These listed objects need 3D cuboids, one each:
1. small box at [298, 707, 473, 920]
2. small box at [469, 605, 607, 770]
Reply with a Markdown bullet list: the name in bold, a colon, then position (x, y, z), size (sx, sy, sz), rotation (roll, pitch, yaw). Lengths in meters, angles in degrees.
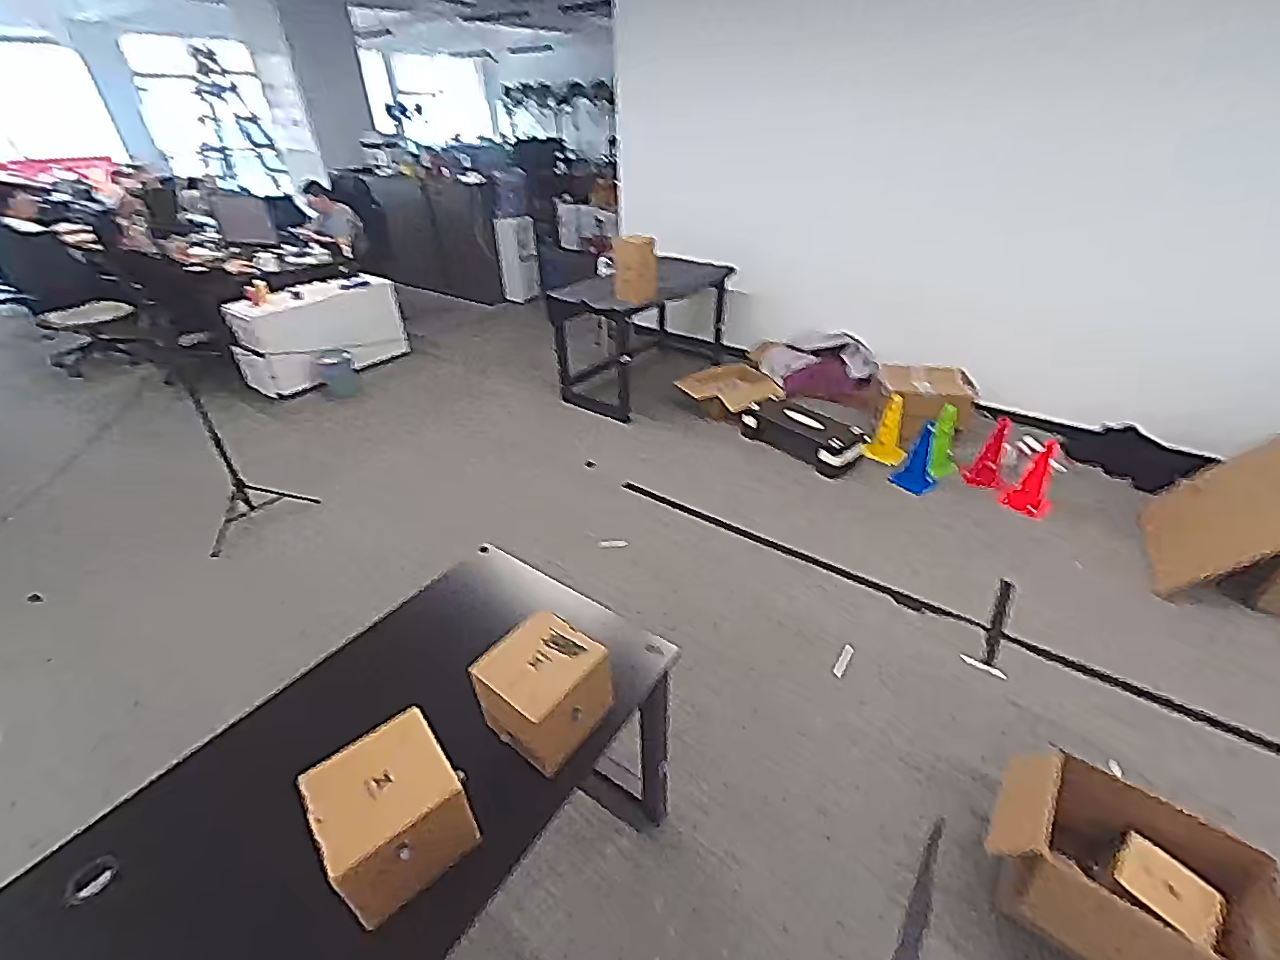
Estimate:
- **small box**: position (-0.365, 0.489, 0.802), size (0.179, 0.176, 0.168), rotation (-28, 42, -32)
- **small box**: position (-0.172, 0.367, 0.966), size (0.168, 0.176, 0.179), rotation (22, 42, 31)
